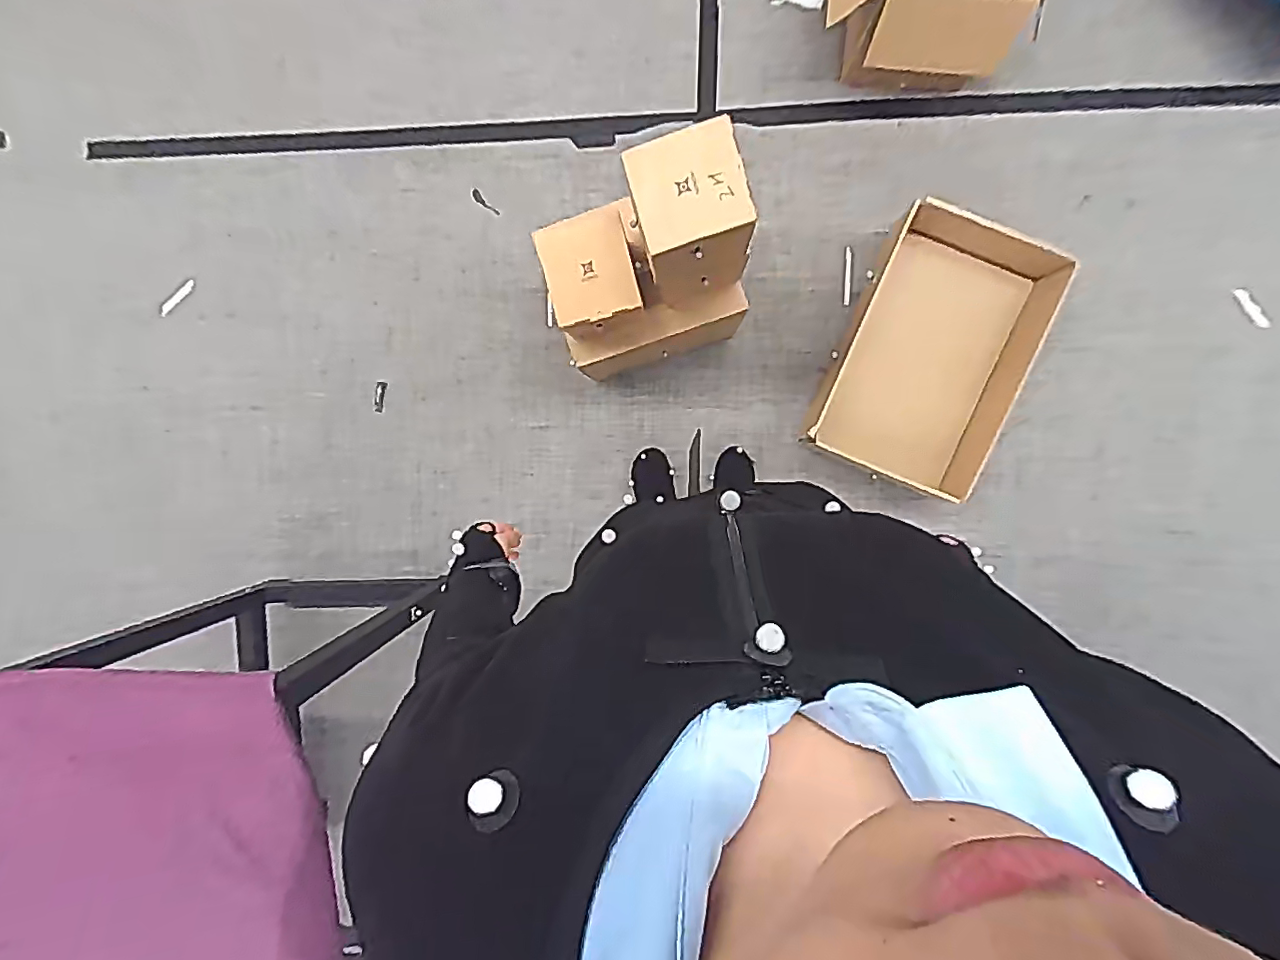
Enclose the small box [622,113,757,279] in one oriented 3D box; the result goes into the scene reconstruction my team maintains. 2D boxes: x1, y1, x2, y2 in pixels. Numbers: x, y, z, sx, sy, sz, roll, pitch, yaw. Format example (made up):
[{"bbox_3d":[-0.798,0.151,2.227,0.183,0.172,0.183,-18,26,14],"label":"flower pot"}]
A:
[{"bbox_3d":[0.083,-0.458,0.903,0.179,0.176,0.168,-16,94,6],"label":"small box"}]
